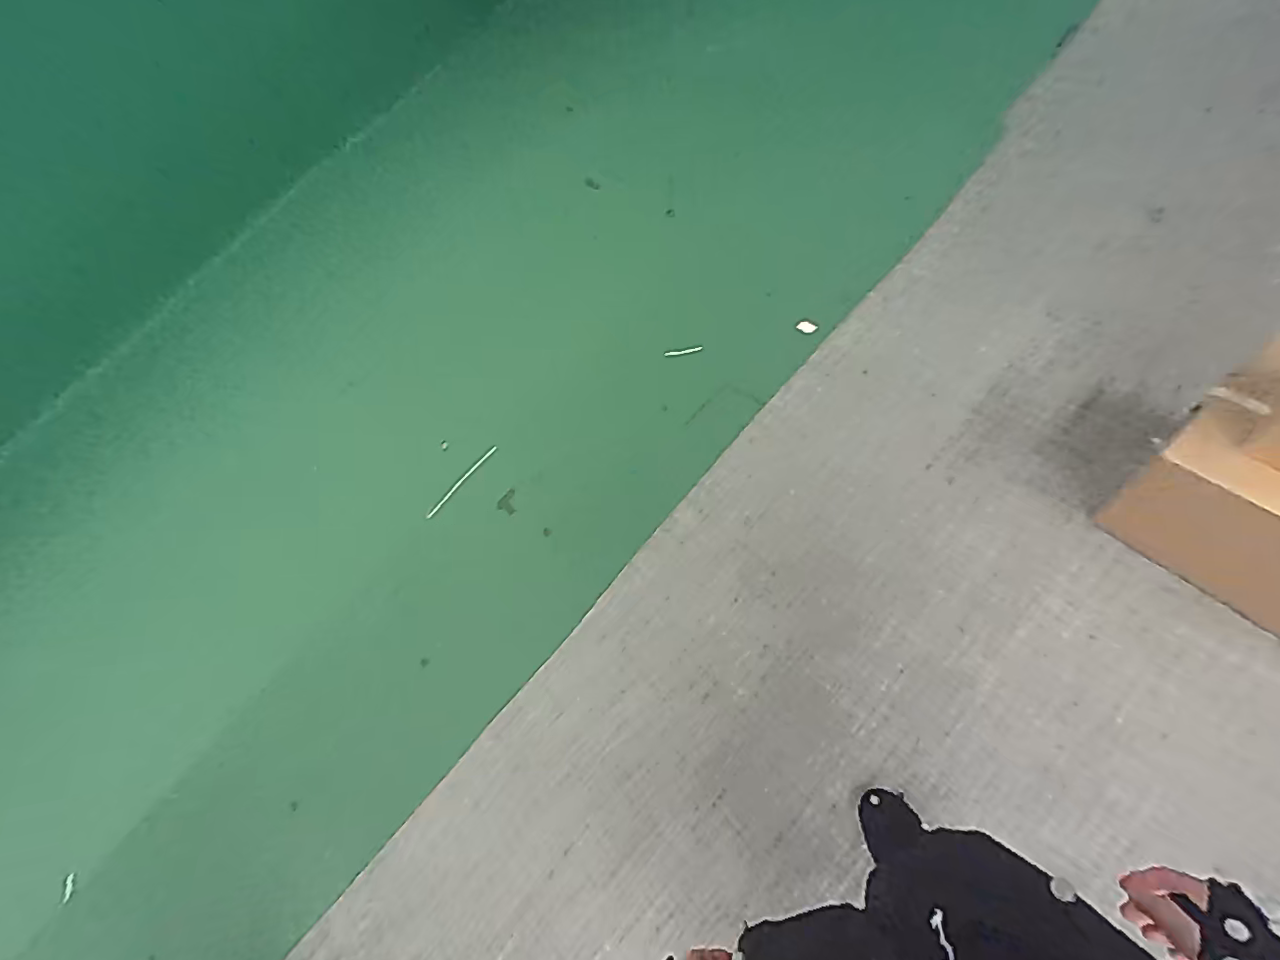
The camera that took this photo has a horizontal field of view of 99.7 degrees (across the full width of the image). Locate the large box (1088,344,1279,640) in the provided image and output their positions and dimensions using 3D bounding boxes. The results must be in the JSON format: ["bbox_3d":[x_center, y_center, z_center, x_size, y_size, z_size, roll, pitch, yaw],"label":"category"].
[{"bbox_3d":[1.131,0.045,0.935,0.320,0.320,0.408,-44,59,-4],"label":"large box"}]
